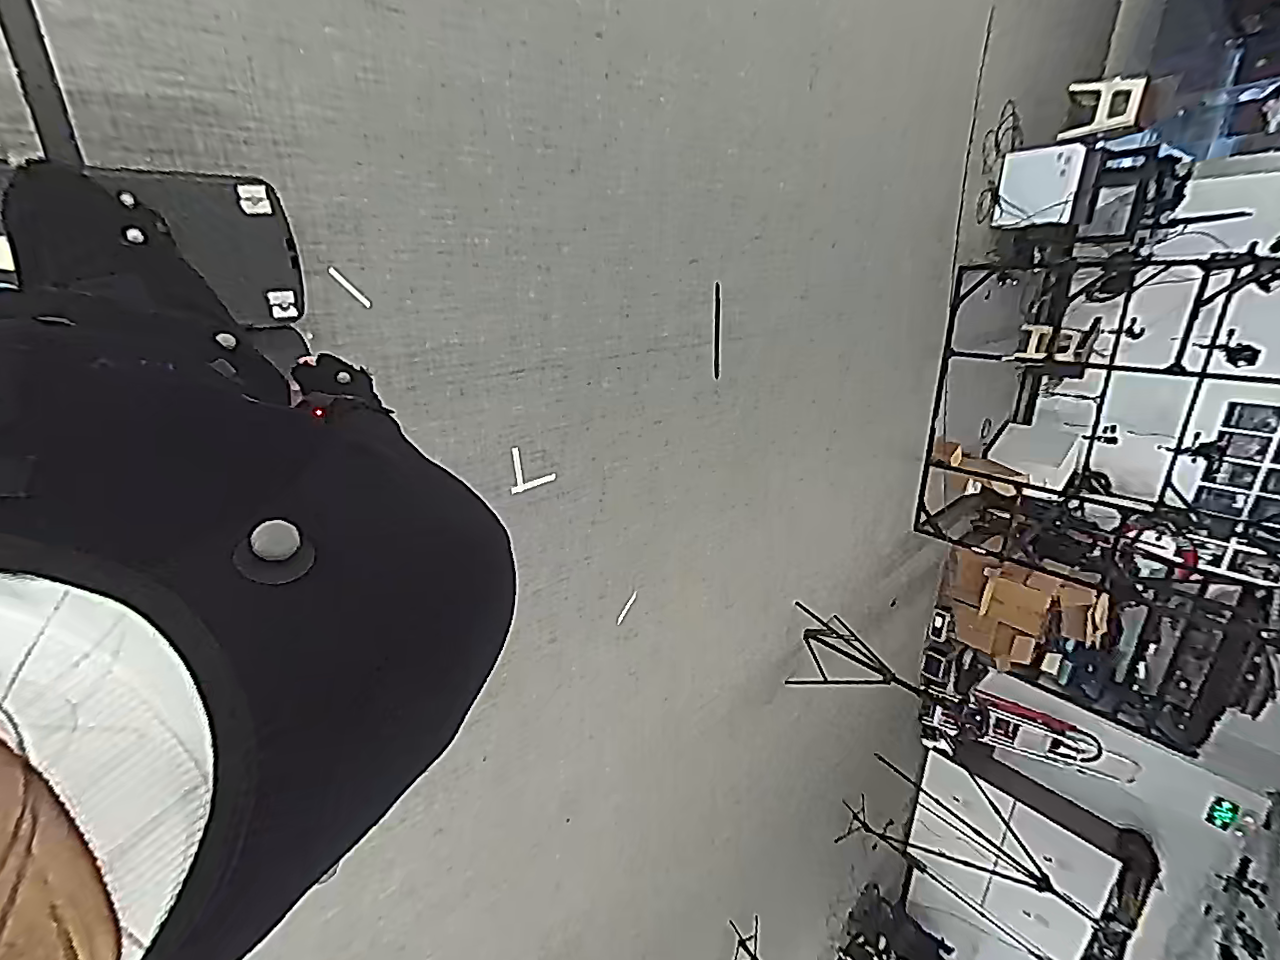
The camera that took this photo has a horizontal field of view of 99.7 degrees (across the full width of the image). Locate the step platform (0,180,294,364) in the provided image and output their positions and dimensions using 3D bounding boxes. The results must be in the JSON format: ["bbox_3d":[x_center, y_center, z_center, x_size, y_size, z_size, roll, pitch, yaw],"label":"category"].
[{"bbox_3d":[-1.036,-0.377,0.981,0.684,0.204,0.286,-20,119,-38],"label":"step platform"}]
